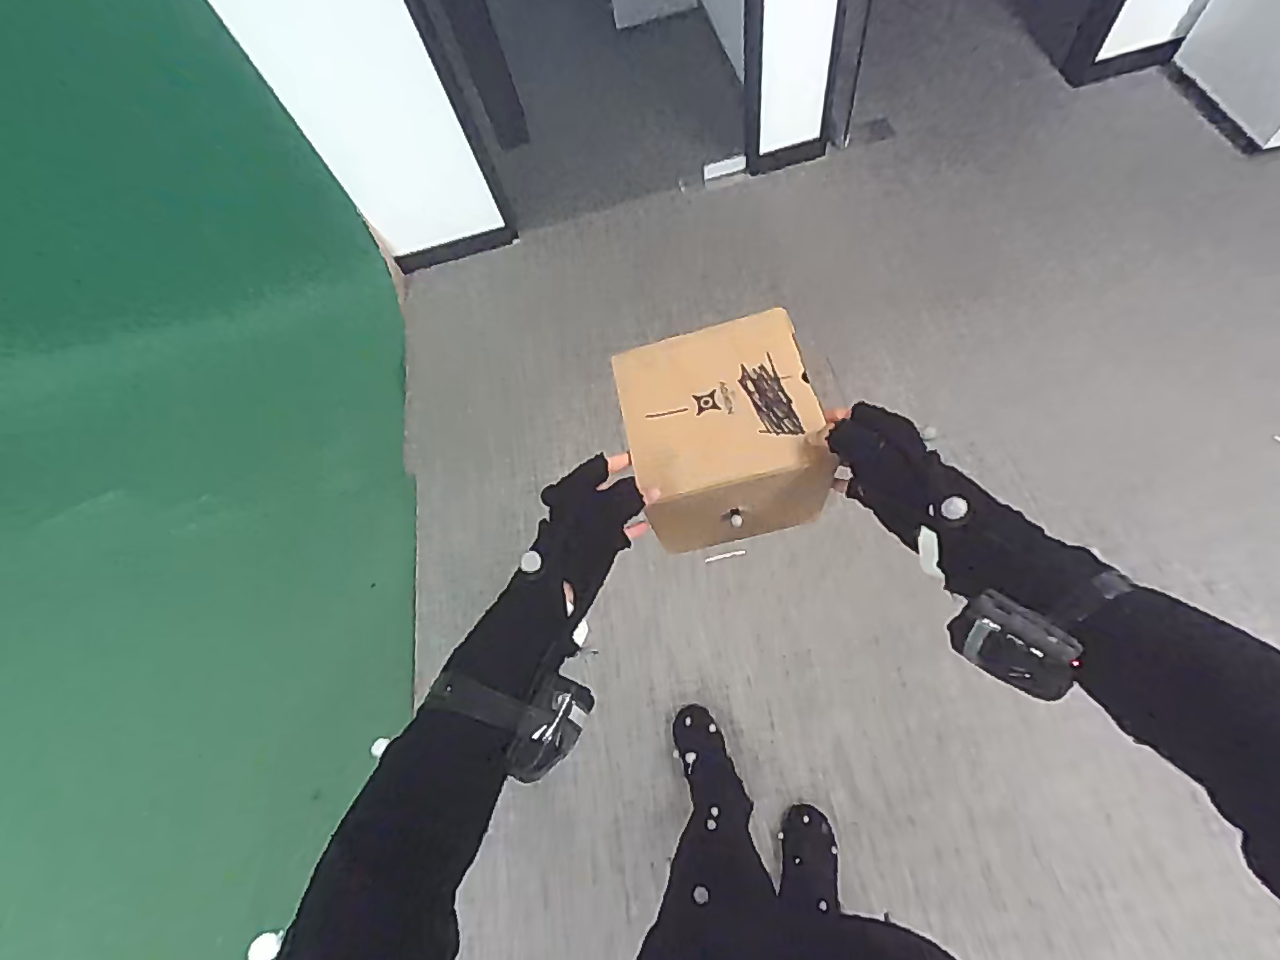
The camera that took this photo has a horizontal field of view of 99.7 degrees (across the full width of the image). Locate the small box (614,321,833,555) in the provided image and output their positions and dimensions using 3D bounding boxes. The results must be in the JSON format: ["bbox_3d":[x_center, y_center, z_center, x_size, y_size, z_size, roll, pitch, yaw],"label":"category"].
[{"bbox_3d":[0.085,-0.034,0.579,0.179,0.176,0.168,-15,63,6],"label":"small box"}]
